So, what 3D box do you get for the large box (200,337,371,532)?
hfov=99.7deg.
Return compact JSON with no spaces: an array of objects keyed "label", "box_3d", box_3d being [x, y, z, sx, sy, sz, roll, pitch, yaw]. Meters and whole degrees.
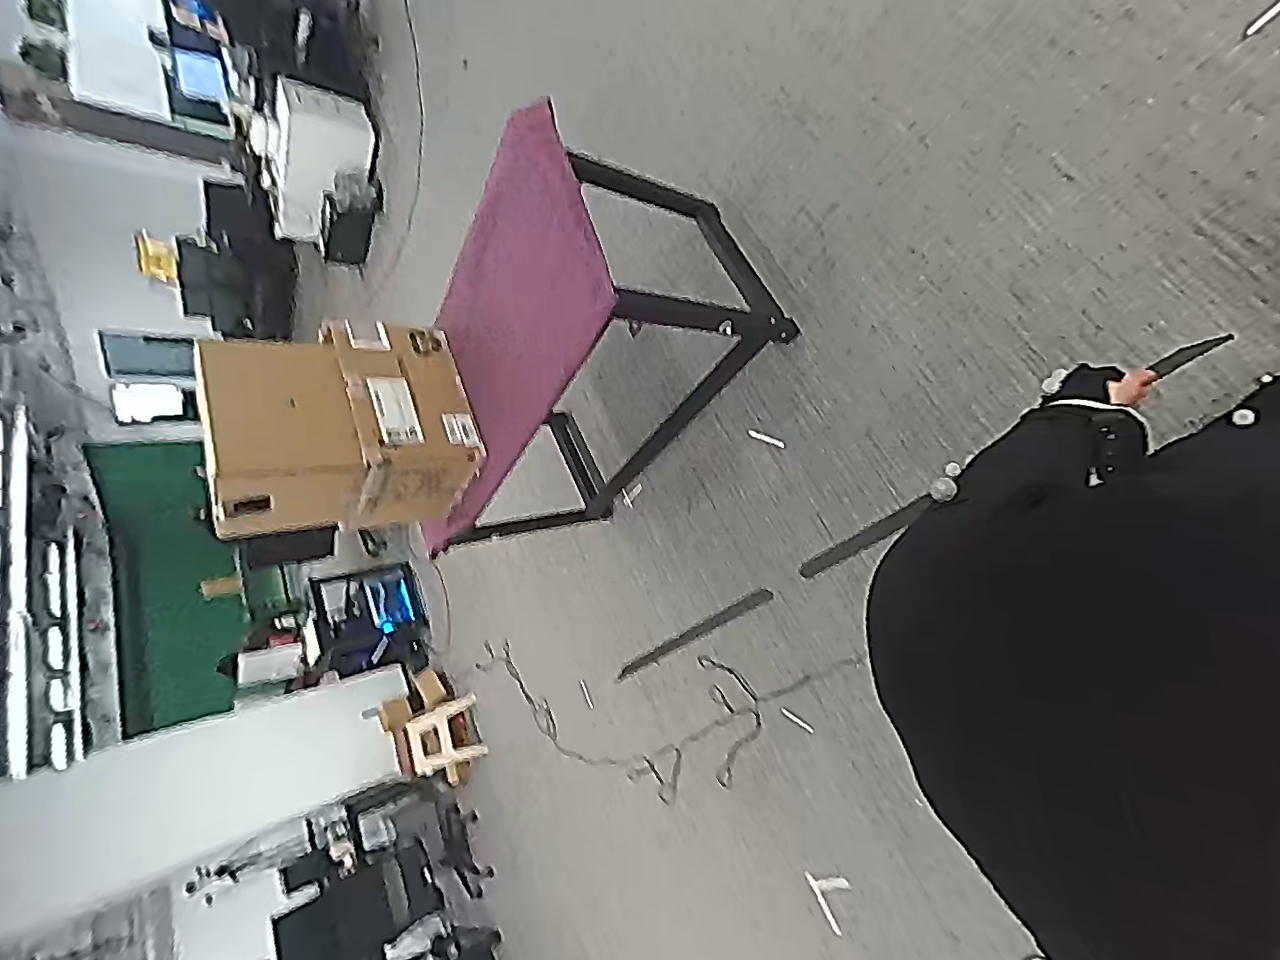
[{"label":"large box","box_3d":[-0.956,-0.124,1.450,0.320,0.320,0.408,-47,61,44]}]
